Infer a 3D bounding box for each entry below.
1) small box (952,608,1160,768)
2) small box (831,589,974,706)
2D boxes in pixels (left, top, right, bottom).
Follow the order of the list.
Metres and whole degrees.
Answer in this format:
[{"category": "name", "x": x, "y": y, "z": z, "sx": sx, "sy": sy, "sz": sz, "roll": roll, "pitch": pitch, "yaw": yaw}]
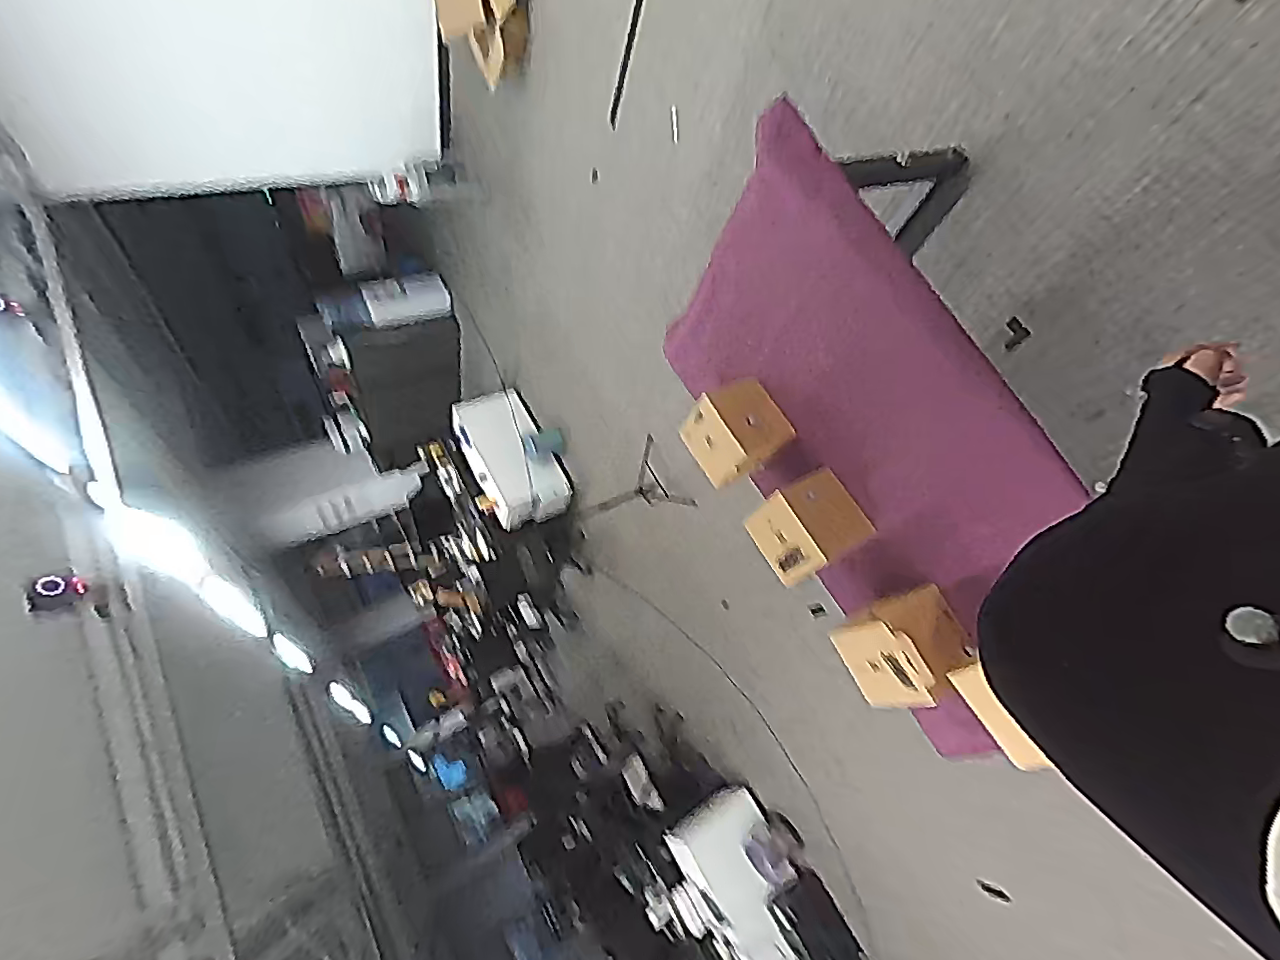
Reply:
[{"category": "small box", "x": 0.665, "y": 0.334, "z": 0.872, "sx": 0.168, "sy": 0.176, "sz": 0.179, "roll": 58, "pitch": 151, "yaw": 21}, {"category": "small box", "x": 0.539, "y": 0.340, "z": 1.102, "sx": 0.168, "sy": 0.176, "sz": 0.179, "roll": 61, "pitch": 152, "yaw": 12}]
